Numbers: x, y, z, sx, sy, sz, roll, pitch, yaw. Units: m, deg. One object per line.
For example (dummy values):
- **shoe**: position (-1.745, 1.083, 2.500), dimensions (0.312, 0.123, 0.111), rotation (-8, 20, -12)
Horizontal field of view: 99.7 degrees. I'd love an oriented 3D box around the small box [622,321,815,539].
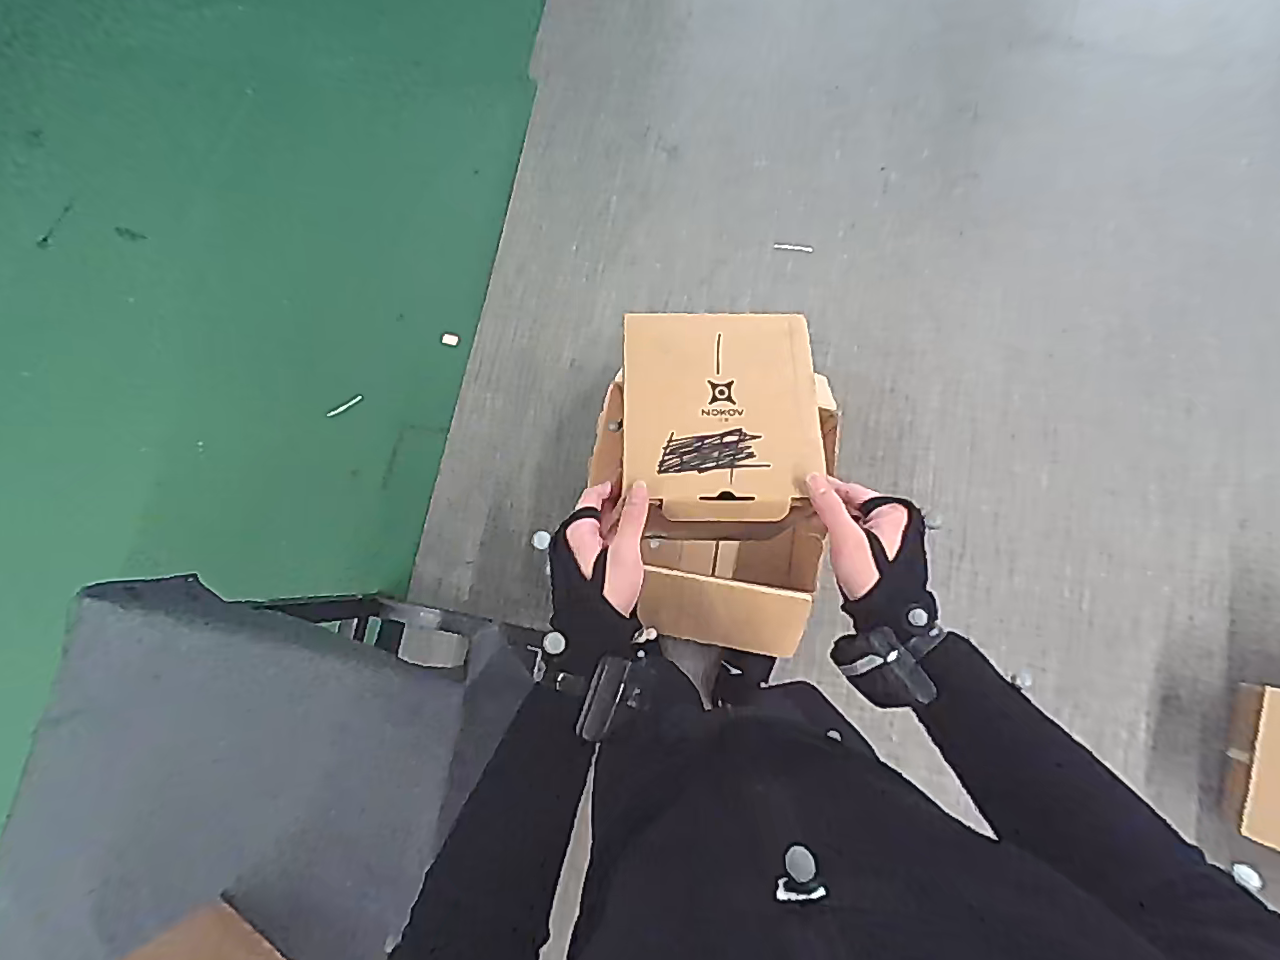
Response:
- **small box**: position (0.067, -0.039, 0.554), dimensions (0.168, 0.176, 0.179), rotation (1, 71, -2)
